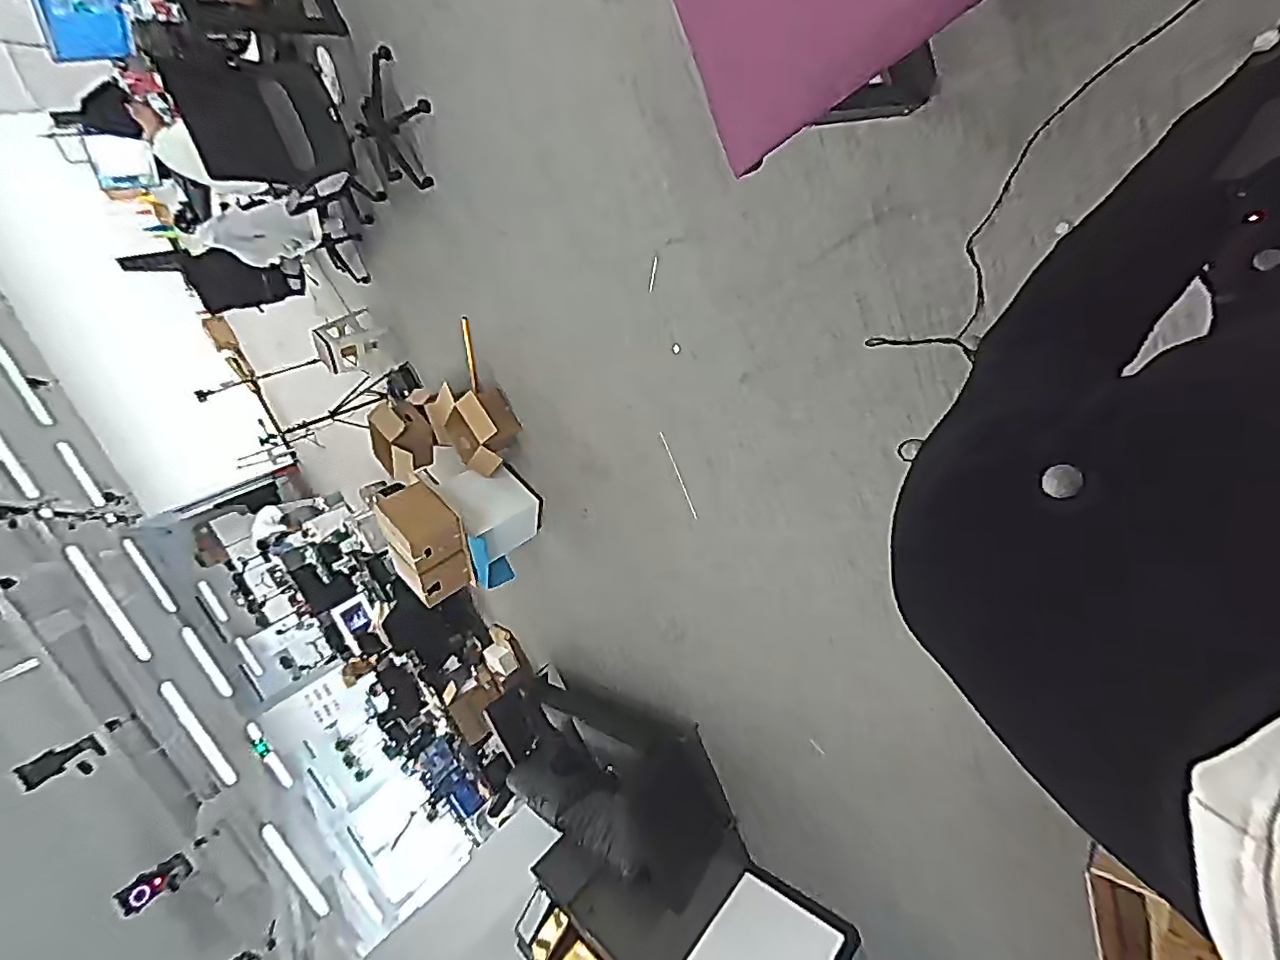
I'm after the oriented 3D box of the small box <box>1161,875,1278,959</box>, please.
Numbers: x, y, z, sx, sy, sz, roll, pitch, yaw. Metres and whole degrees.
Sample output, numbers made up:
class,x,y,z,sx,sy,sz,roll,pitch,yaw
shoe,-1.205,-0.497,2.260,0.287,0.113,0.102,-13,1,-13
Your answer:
class,x,y,z,sx,sy,sz,roll,pitch,yaw
small box,1.257,1.020,1.176,0.168,0.176,0.179,0,116,51

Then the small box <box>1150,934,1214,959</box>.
class,x,y,z,sx,sy,sz,roll,pitch,yaw
small box,1.136,1.082,1.086,0.168,0.176,0.179,4,119,50
